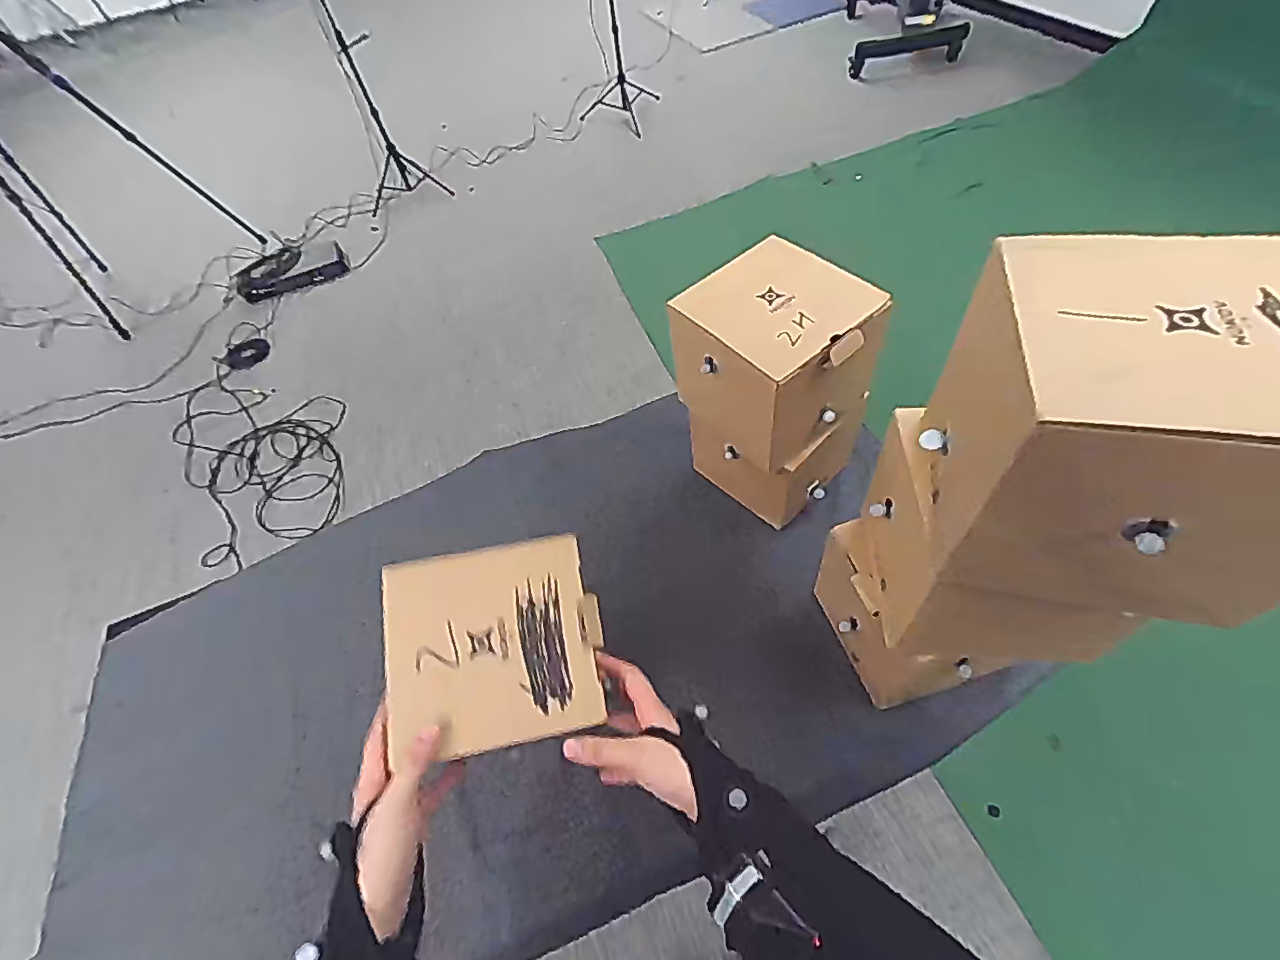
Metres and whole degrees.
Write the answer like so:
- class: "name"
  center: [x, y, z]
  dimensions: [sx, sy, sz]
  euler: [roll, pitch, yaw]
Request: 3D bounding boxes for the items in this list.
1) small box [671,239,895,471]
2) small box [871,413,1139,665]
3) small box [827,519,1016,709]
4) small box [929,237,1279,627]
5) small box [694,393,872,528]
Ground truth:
- class: "small box"
  center: [0.158, -0.143, 0.642]
  dimensions: [0.168, 0.176, 0.179]
  euler: [-36, 60, -12]
- class: "small box"
  center: [0.316, 0.055, 0.480]
  dimensions: [0.179, 0.176, 0.168]
  euler: [-1, 53, 9]
- class: "small box"
  center: [0.330, 0.141, 0.619]
  dimensions: [0.179, 0.176, 0.168]
  euler: [-18, 53, -3]
- class: "small box"
  center: [0.300, -0.025, 0.335]
  dimensions: [0.179, 0.176, 0.168]
  euler: [7, 55, 16]
- class: "small box"
  center: [0.196, -0.061, 0.781]
  dimensions: [0.168, 0.176, 0.179]
  euler: [-43, 62, -16]
